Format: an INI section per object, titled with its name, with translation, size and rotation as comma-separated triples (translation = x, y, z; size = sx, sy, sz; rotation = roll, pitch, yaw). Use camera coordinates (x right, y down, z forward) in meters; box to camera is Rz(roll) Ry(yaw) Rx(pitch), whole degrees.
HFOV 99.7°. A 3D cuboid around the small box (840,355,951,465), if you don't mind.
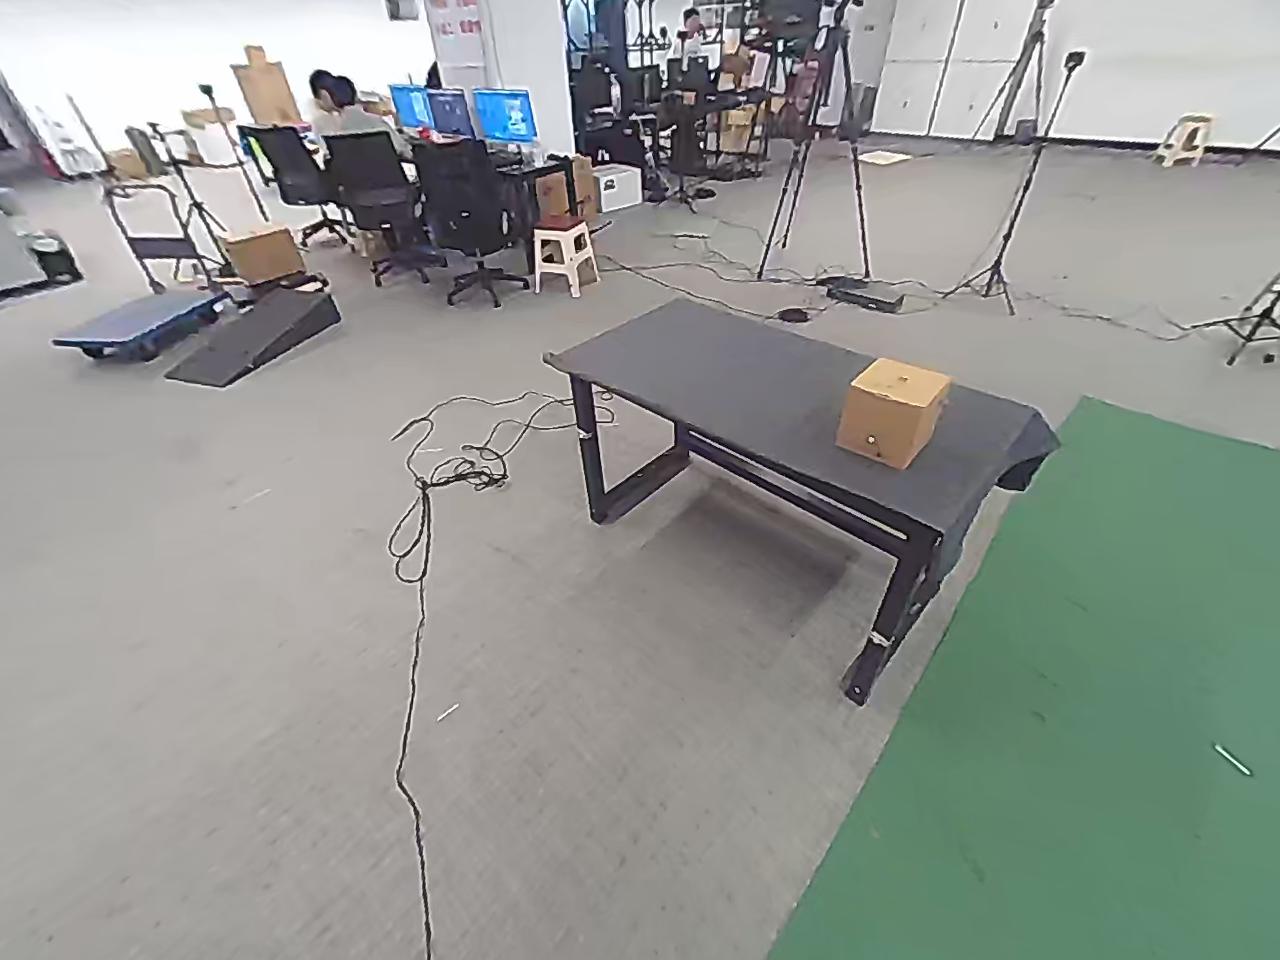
[small box]
translation = 0.586, -0.164, 1.257
size = 0.168, 0.176, 0.179
rotation = 27, 49, 33
